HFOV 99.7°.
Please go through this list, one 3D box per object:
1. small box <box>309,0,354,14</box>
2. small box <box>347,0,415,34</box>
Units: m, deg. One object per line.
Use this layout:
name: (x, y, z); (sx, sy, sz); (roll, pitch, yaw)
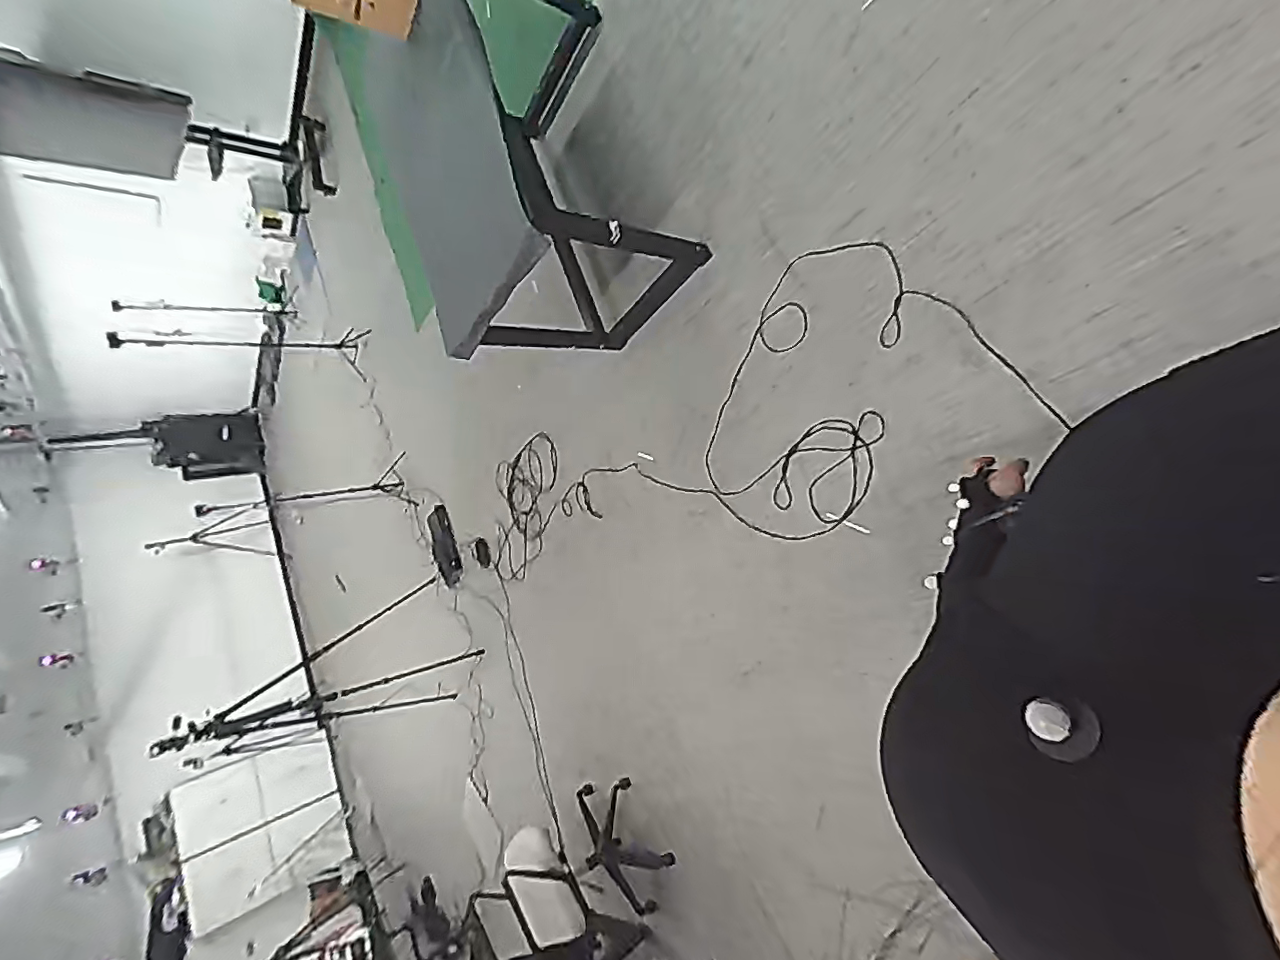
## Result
small box: (-0.901, -1.459, 1.504); (0.168, 0.176, 0.179); (-38, 72, 48)
small box: (-0.783, -1.494, 1.610); (0.179, 0.176, 0.168); (-26, 80, 49)
